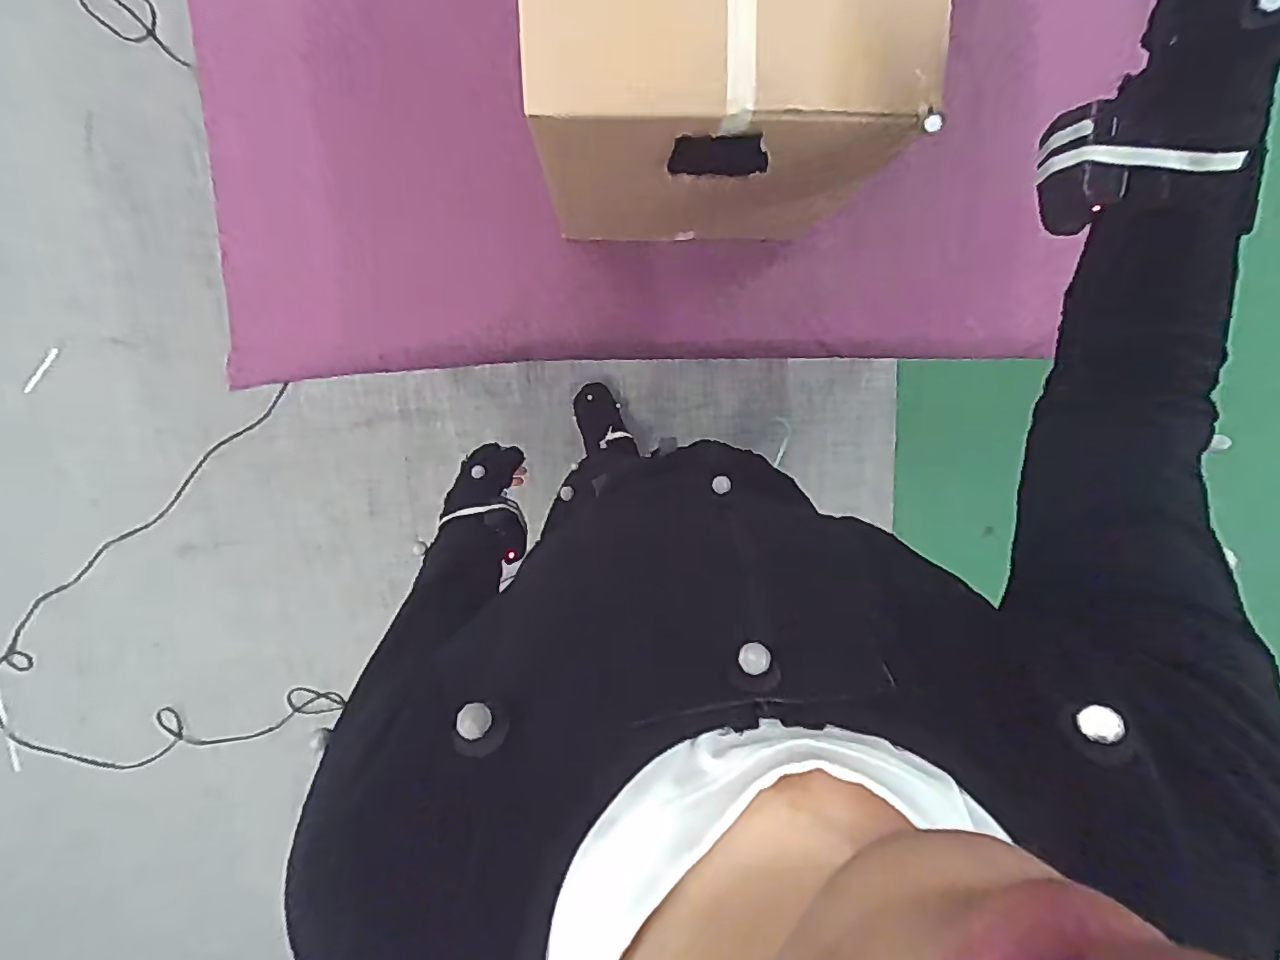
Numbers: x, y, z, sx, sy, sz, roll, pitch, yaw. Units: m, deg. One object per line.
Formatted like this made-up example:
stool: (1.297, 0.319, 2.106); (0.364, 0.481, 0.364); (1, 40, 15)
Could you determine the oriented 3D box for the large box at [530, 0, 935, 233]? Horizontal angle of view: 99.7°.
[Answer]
large box: (0.061, -0.496, 0.530); (0.320, 0.320, 0.408); (-1, 100, -3)
